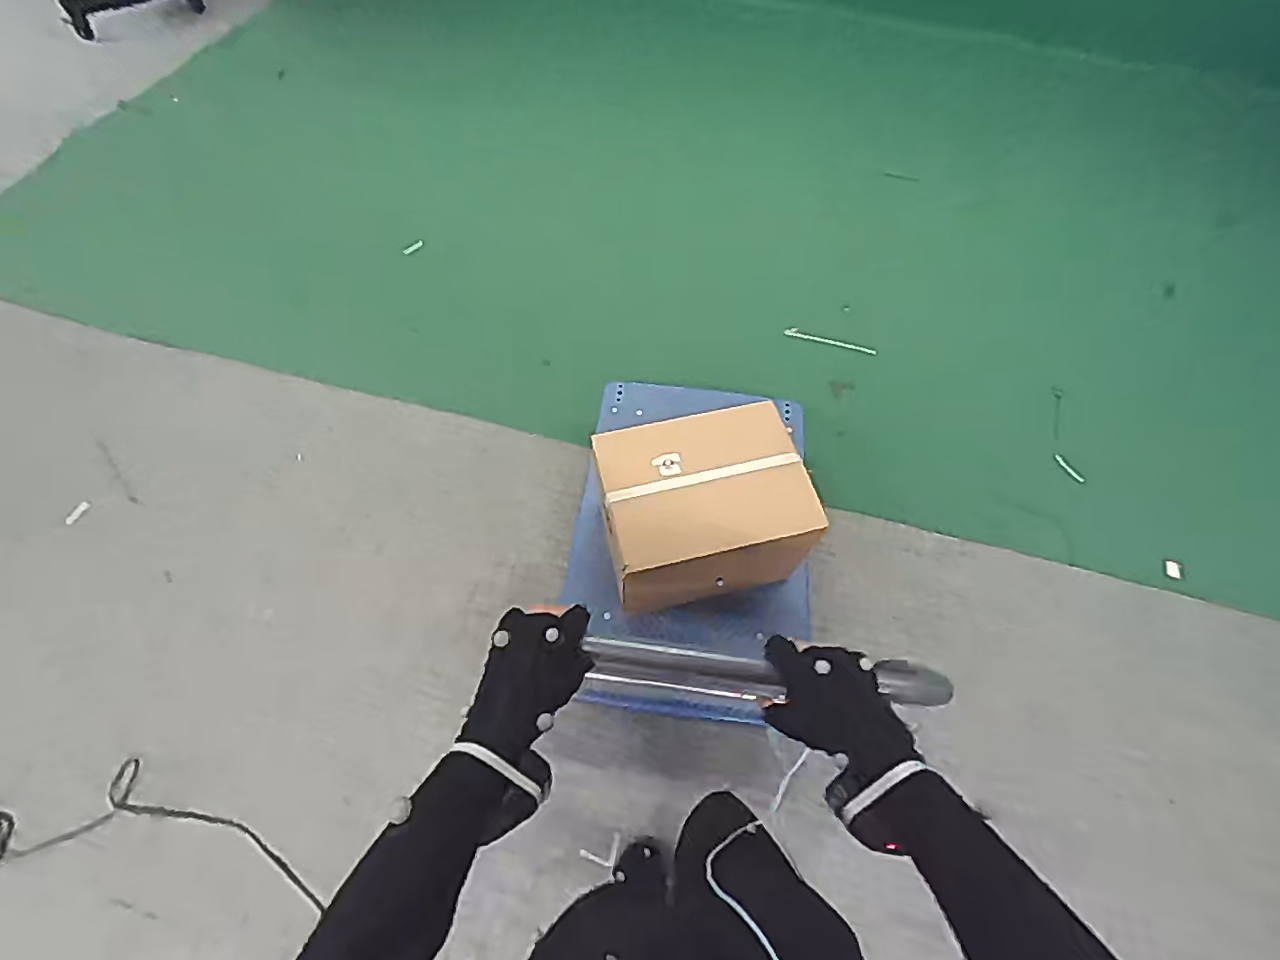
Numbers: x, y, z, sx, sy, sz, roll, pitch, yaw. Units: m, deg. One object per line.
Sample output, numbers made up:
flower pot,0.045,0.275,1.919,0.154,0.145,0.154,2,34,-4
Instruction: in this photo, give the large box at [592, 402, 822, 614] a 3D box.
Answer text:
large box,0.129,0.073,1.226,0.408,0.320,0.320,-13,61,-7
